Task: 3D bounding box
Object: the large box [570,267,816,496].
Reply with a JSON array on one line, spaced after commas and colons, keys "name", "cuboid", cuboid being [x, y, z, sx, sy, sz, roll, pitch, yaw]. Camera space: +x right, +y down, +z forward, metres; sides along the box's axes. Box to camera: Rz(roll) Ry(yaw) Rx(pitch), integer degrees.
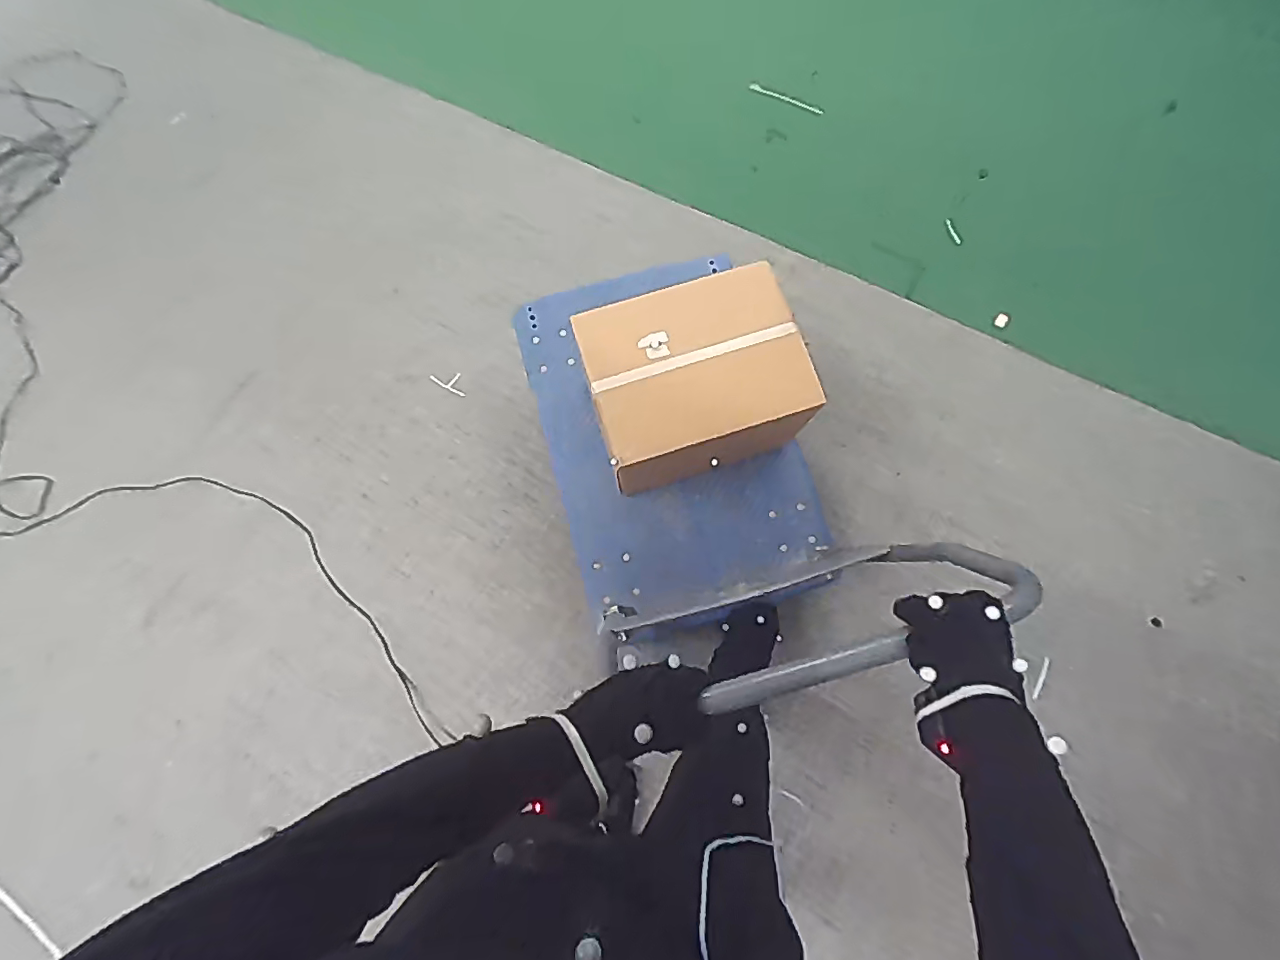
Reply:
[{"name": "large box", "cuboid": [0.101, -0.189, 1.173, 0.408, 0.320, 0.320, -18, 78, -3]}]
